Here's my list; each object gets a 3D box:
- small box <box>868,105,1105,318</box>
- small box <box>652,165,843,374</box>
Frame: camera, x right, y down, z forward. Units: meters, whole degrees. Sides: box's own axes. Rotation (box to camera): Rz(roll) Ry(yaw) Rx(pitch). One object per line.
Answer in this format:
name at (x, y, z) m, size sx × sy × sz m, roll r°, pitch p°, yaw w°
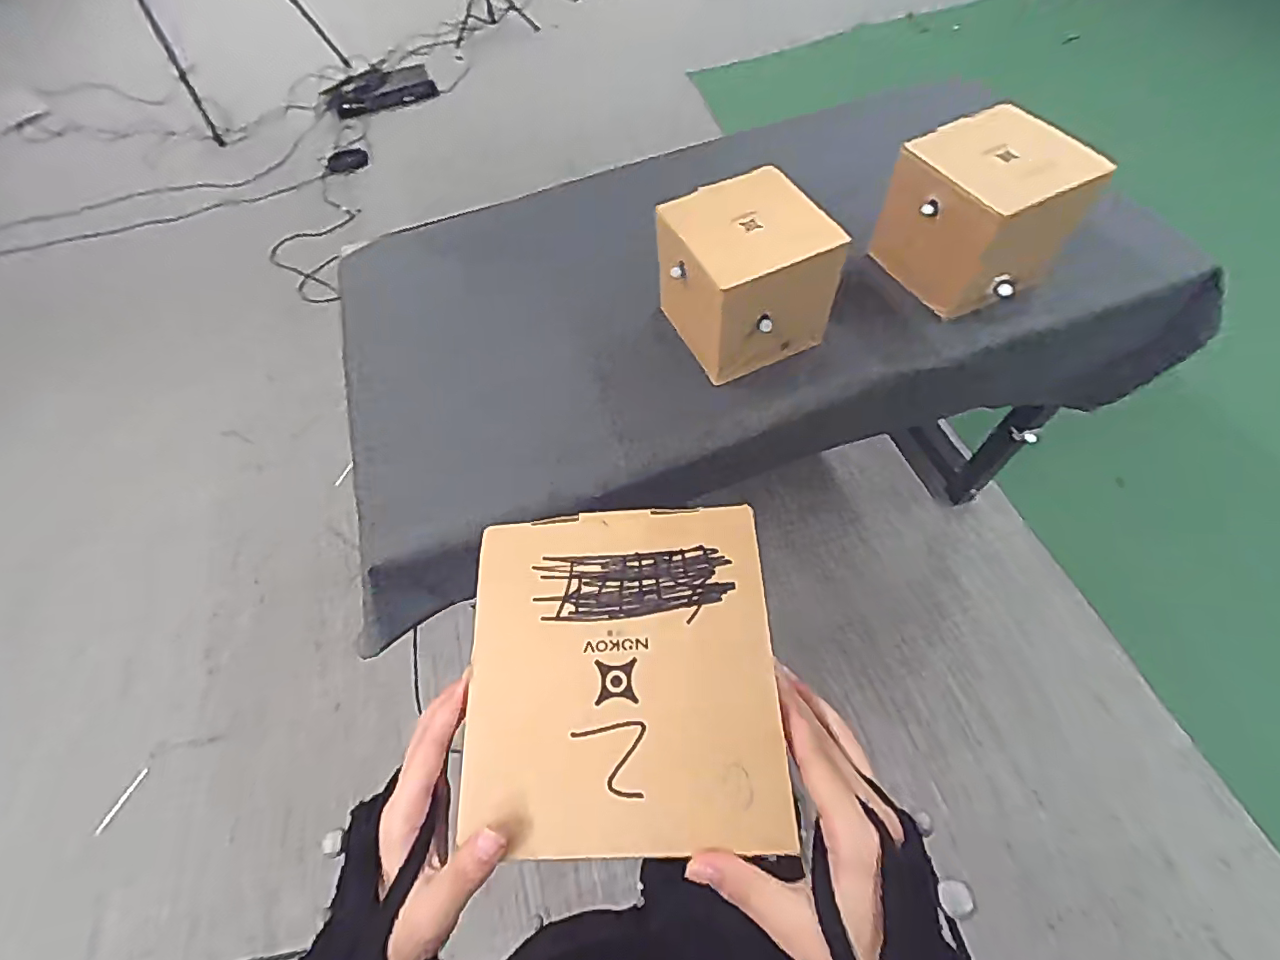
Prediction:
small box at (0.442, -0.354, 0.728) m, size 0.168 × 0.176 × 0.179 m, roll -26°, pitch 62°, yaw -8°
small box at (0.130, -0.262, 0.705) m, size 0.168 × 0.176 × 0.179 m, roll -24°, pitch 61°, yaw -8°
